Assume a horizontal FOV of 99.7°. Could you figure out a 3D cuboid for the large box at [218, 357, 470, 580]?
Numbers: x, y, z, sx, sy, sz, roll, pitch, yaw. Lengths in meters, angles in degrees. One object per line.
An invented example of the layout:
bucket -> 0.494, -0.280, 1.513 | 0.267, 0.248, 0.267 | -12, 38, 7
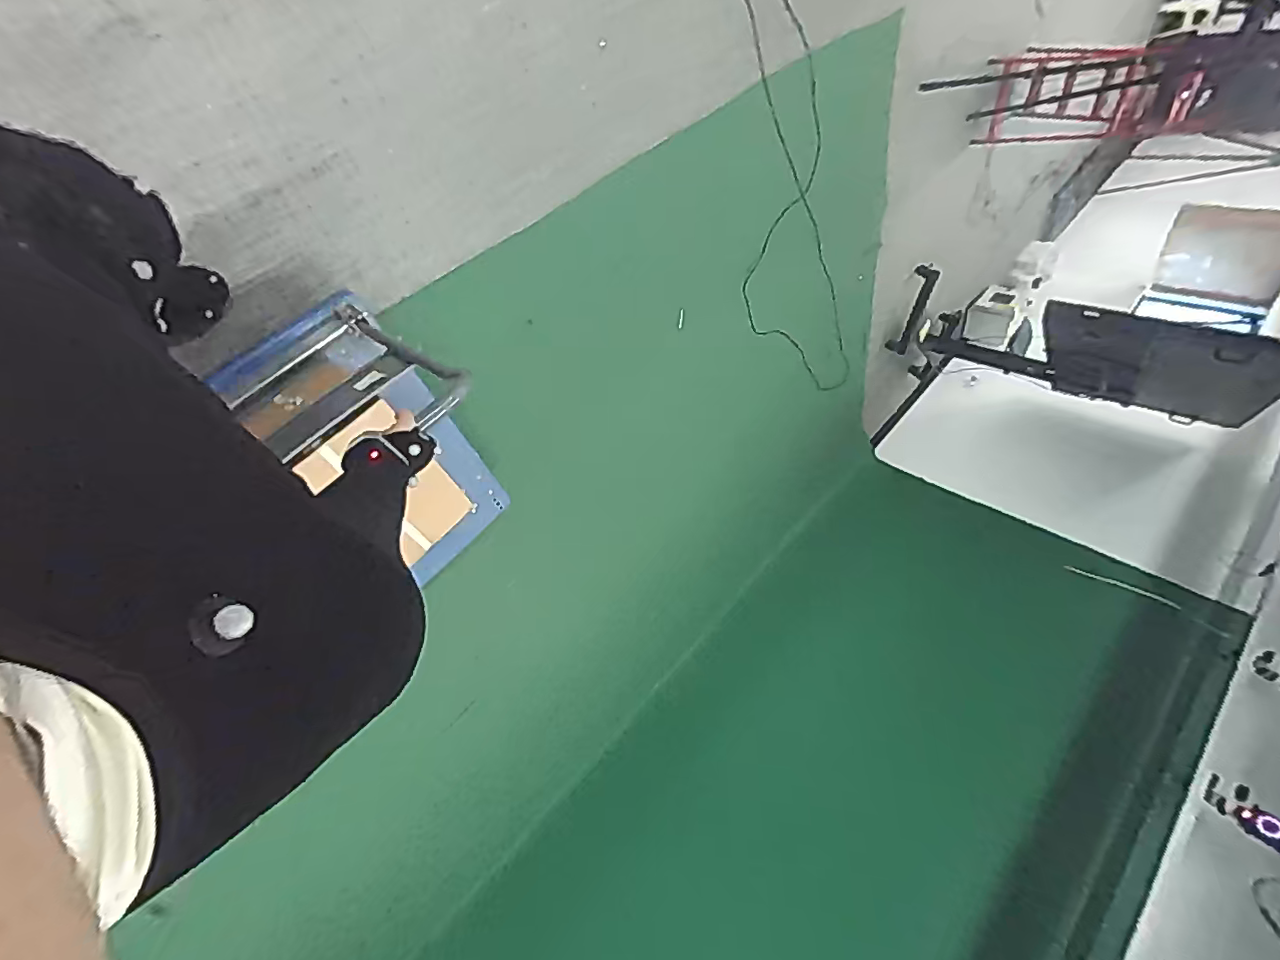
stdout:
large box -> -0.715, -0.028, 1.343 | 0.320, 0.320, 0.408 | -45, 142, -18
